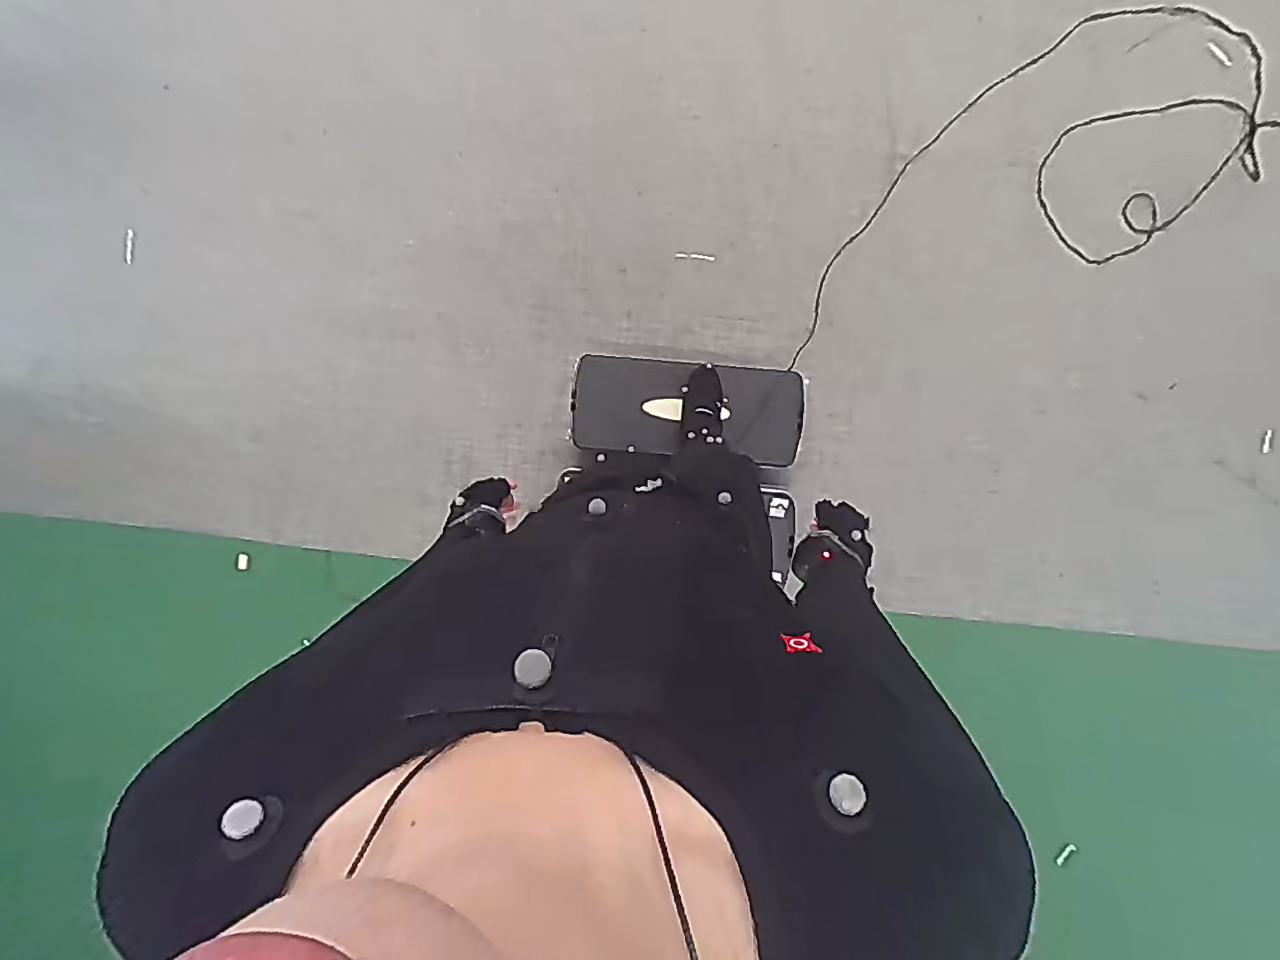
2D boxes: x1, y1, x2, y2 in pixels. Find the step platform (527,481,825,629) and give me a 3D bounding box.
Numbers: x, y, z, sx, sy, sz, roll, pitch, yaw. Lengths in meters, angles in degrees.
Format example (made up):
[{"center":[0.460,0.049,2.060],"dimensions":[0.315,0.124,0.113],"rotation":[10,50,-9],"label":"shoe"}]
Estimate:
[{"center":[0.083,0.172,1.336],"dimensions":[0.684,0.204,0.286],"rotation":[5,93,1],"label":"step platform"}]
